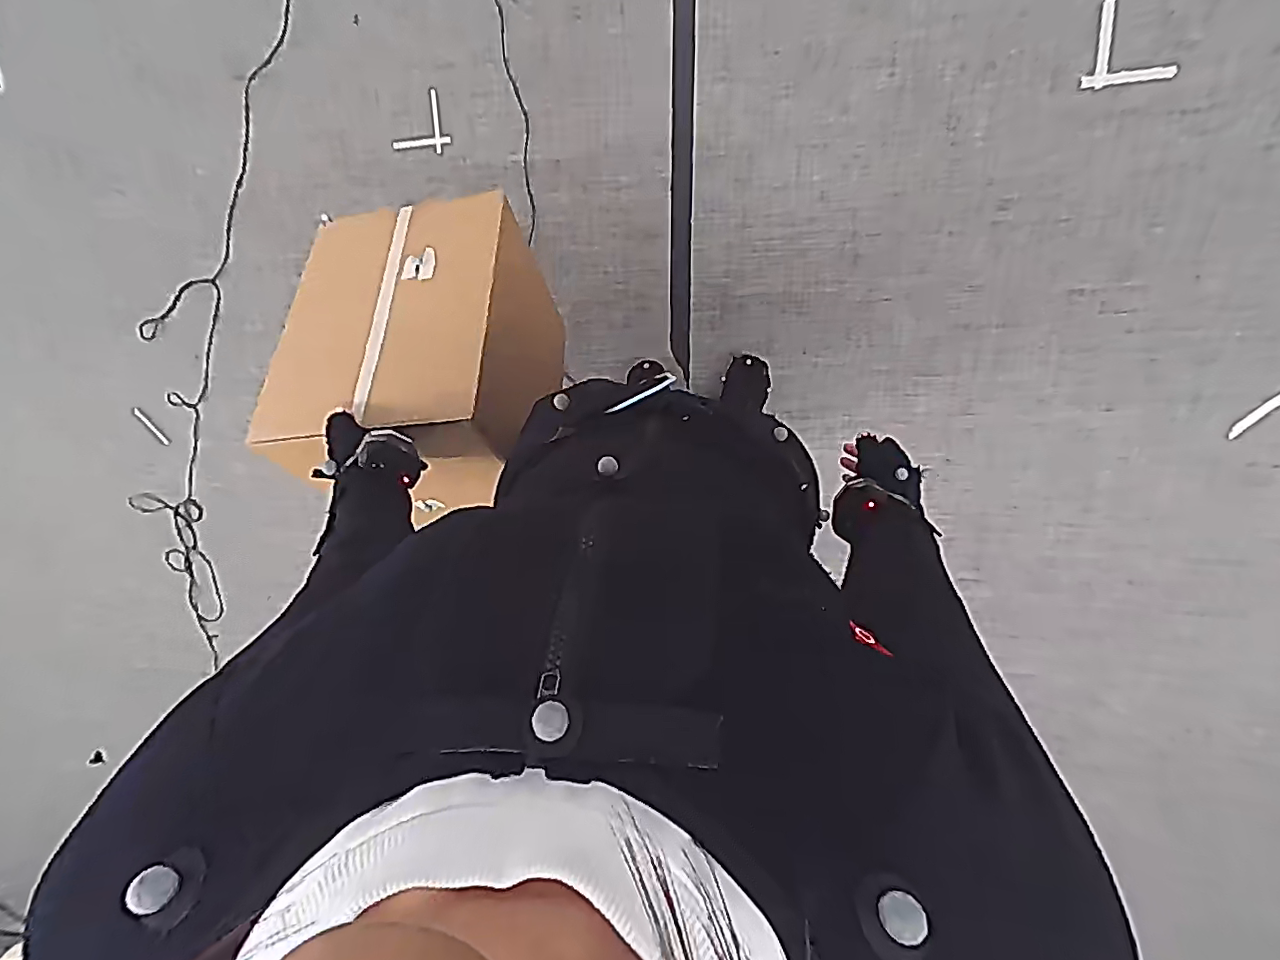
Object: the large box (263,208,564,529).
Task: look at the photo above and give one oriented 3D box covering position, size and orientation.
[{"bbox_3d":[-0.325,-0.166,0.904,0.320,0.320,0.408,-5,63,9],"label":"large box"}]
